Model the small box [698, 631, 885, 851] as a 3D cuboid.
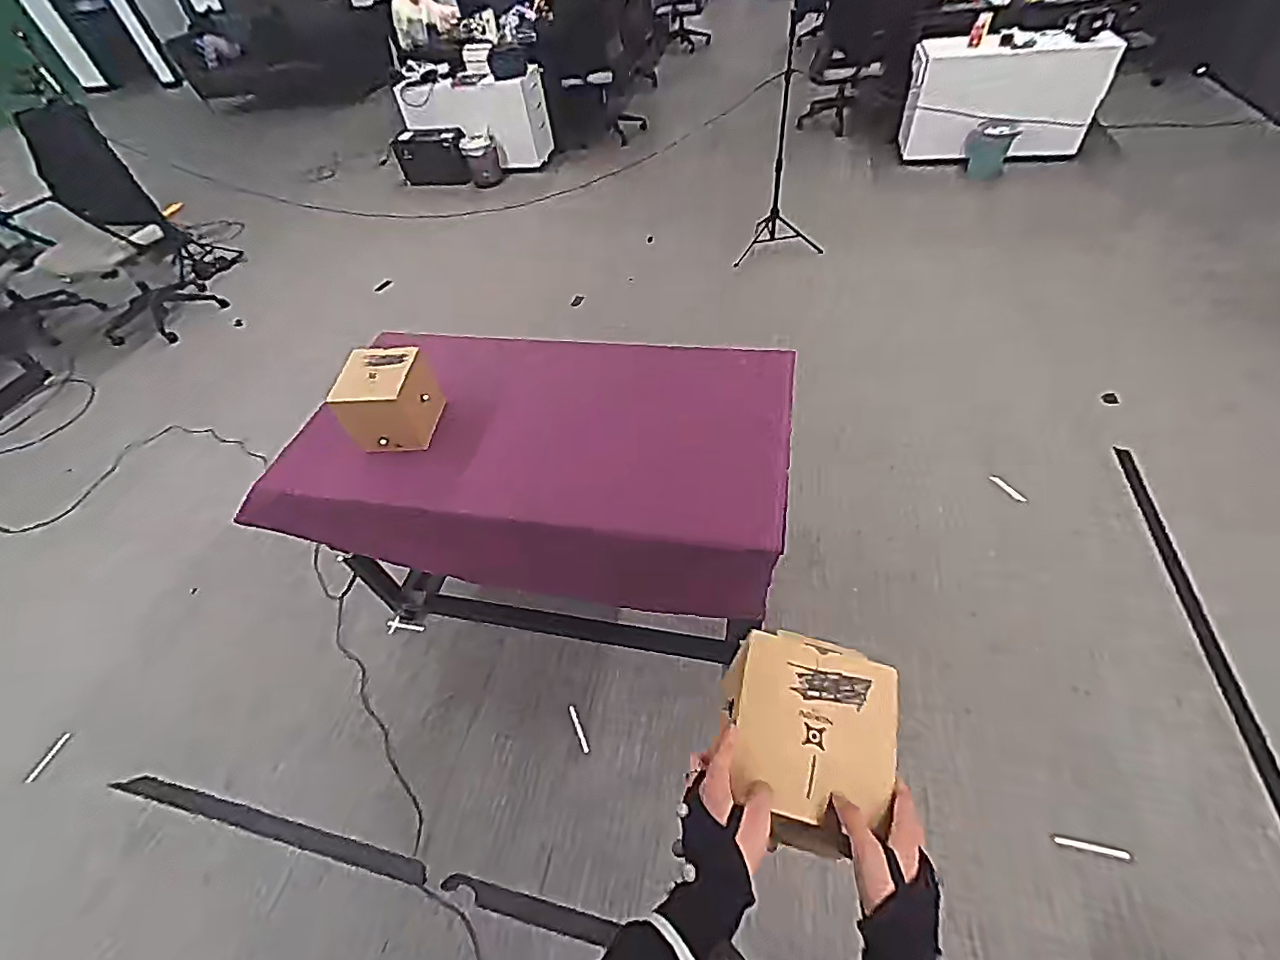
[{"bbox_3d":[0.170,0.309,0.635,0.168,0.176,0.179,13,53,7],"label":"small box"}]
